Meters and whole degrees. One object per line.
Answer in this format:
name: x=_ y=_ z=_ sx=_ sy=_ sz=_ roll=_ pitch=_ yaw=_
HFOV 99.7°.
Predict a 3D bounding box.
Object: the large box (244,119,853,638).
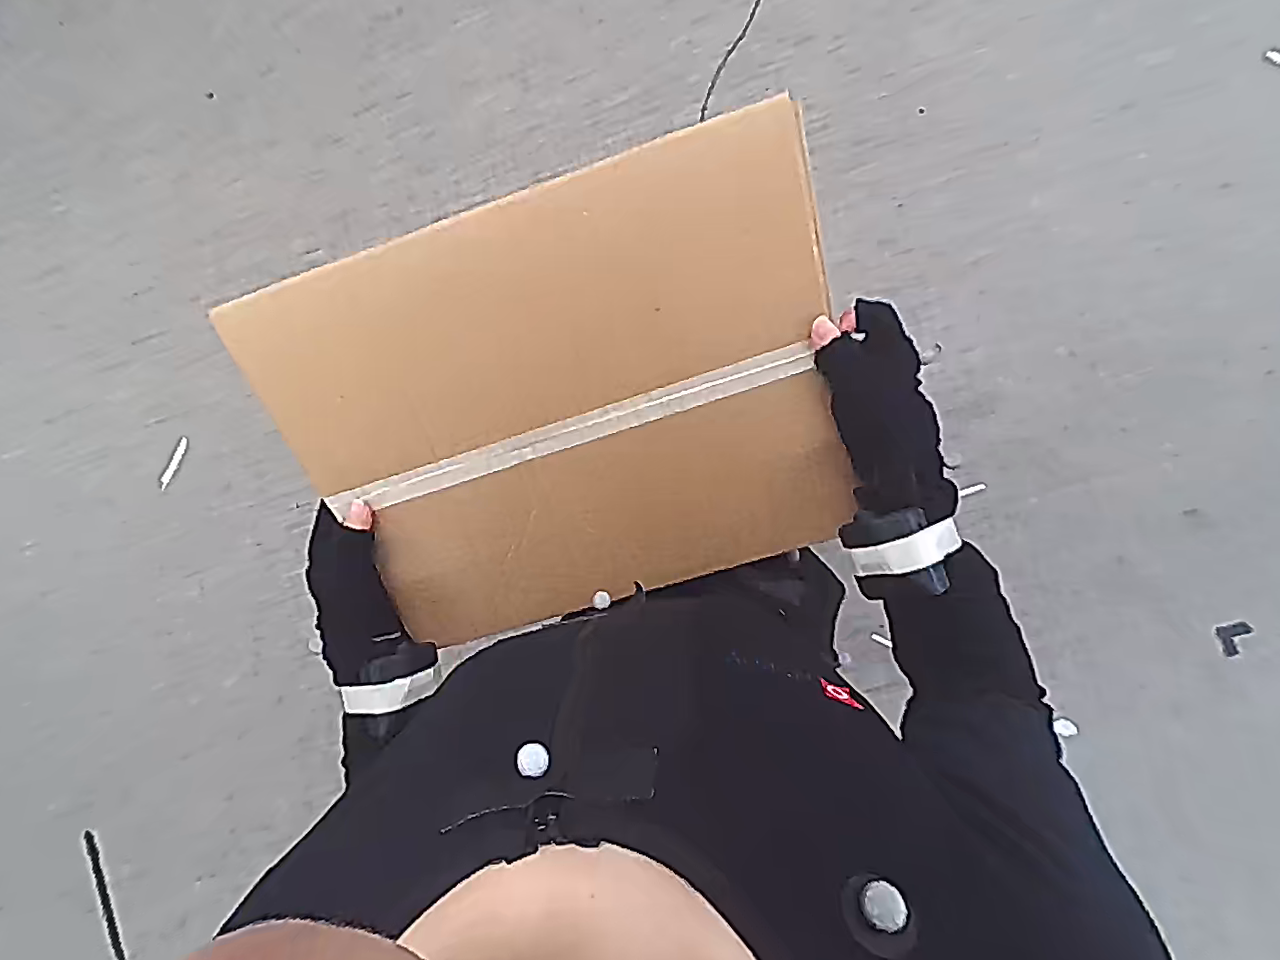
large box: x=-0.053 y=-0.103 z=0.558 sx=0.408 sy=0.320 sz=0.320 roll=-17 pitch=113 yaw=7
